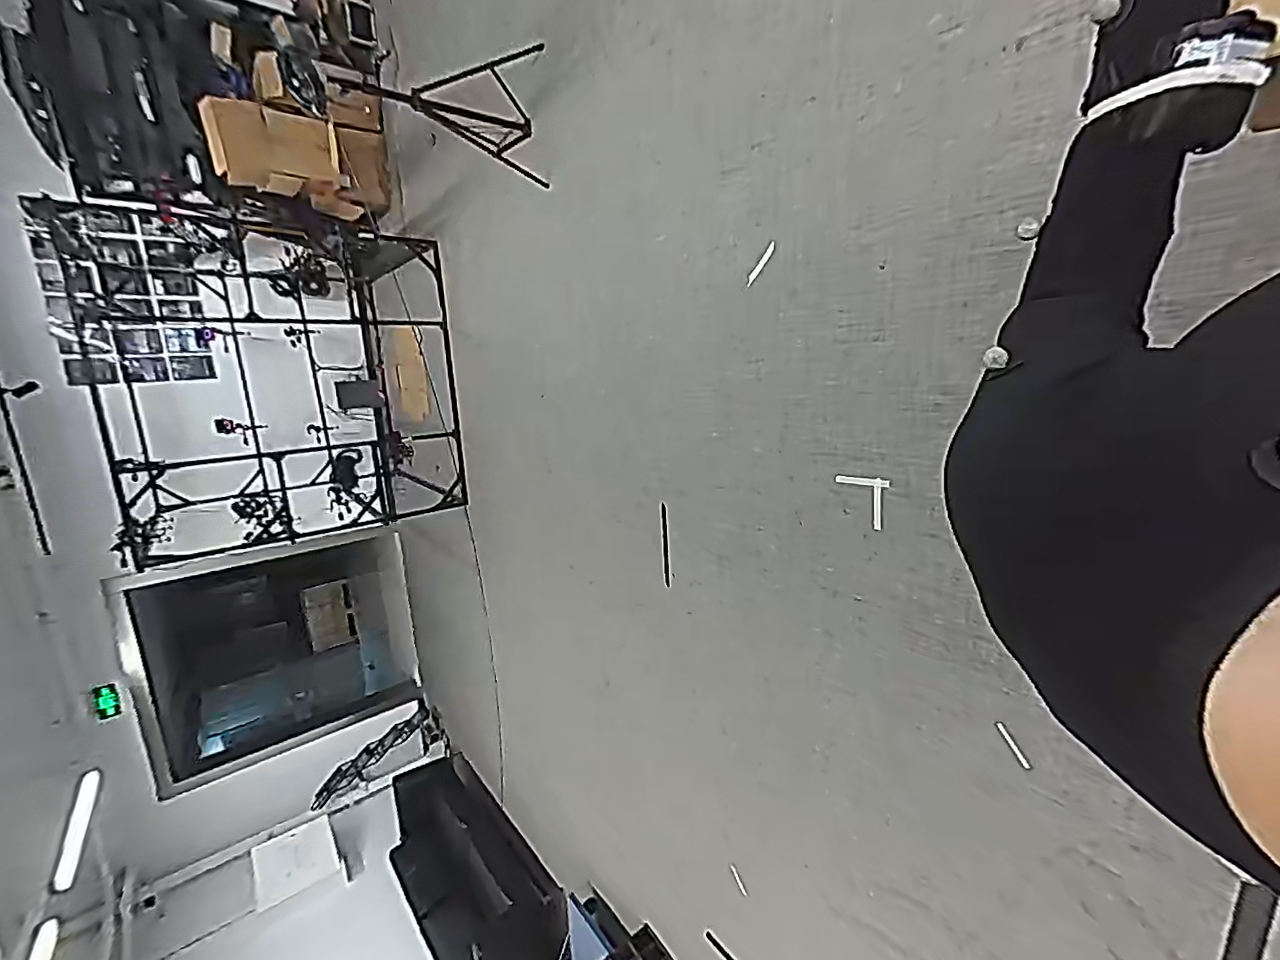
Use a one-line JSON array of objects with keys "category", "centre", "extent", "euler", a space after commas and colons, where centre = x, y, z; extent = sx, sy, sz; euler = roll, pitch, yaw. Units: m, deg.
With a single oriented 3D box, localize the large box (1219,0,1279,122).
[{"category": "large box", "centre": [0.619, -0.434, 0.268], "extent": [0.408, 0.320, 0.320], "euler": [16, 117, 48]}]
